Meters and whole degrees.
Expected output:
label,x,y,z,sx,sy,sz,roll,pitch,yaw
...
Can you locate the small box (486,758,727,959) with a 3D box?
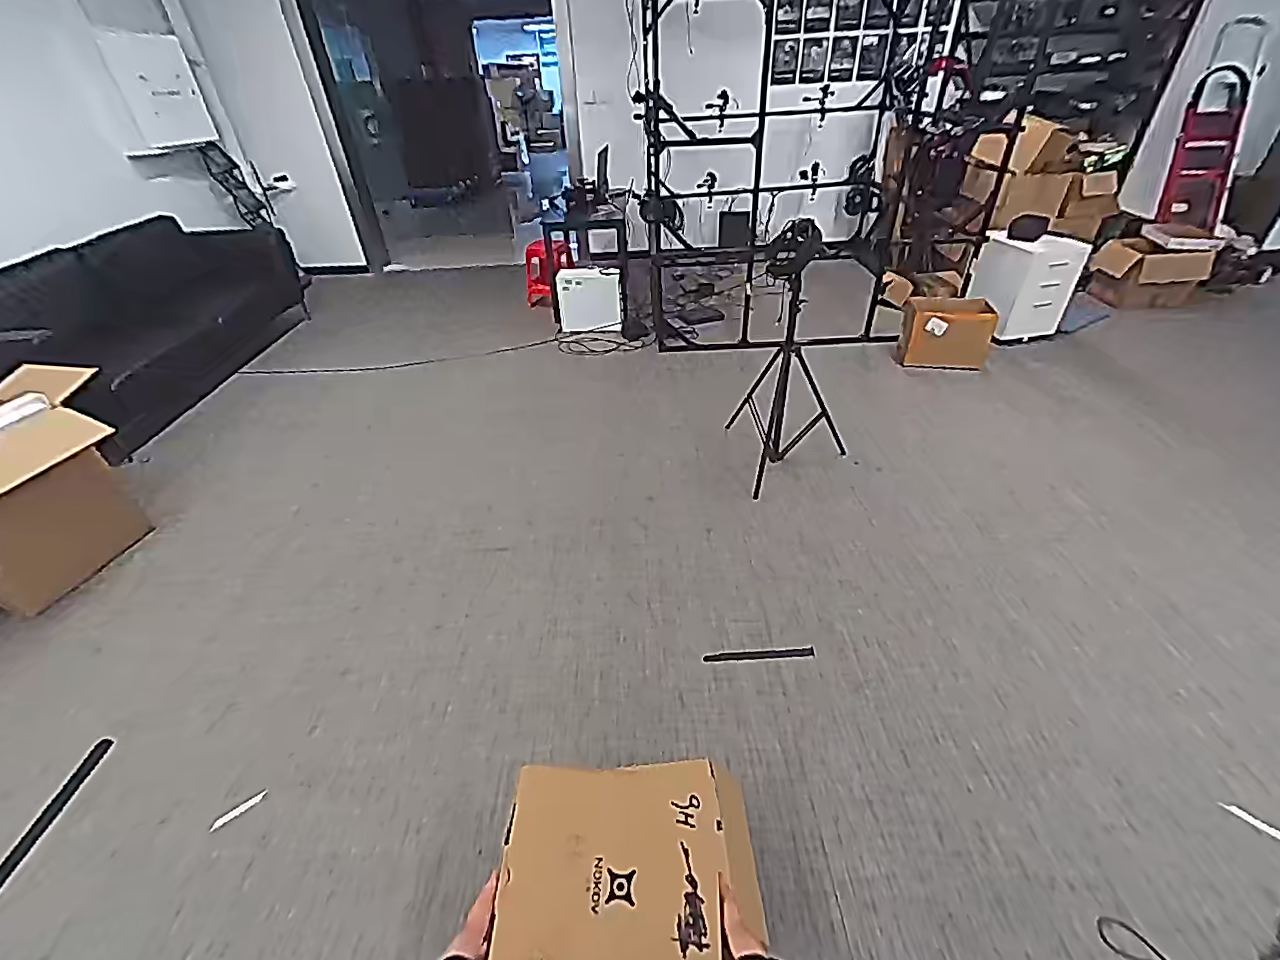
label,x,y,z,sx,sy,sz,roll,pitch,yaw
small box,-0.023,0.364,0.479,0.179,0.176,0.168,4,47,0
